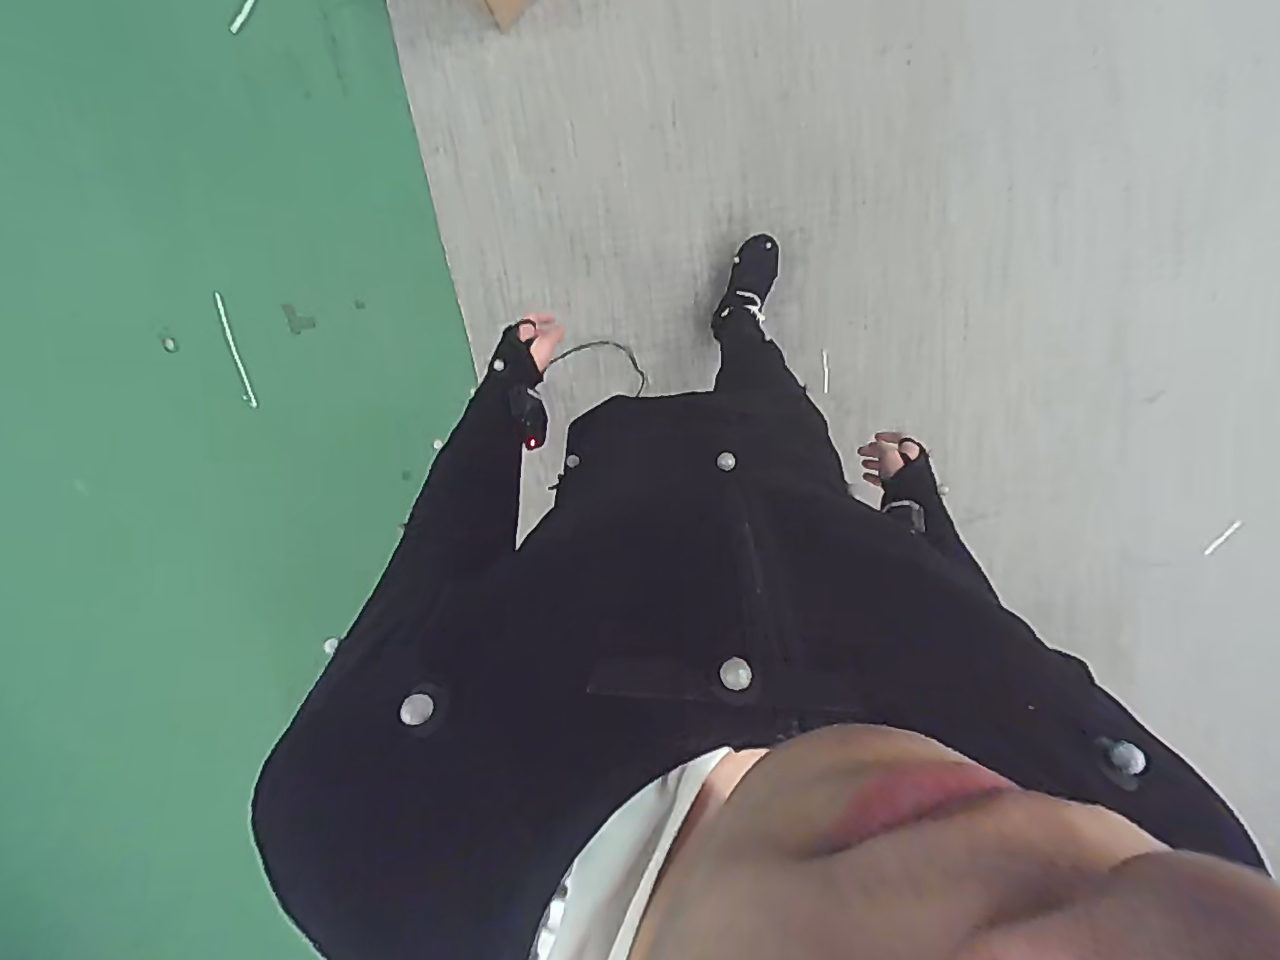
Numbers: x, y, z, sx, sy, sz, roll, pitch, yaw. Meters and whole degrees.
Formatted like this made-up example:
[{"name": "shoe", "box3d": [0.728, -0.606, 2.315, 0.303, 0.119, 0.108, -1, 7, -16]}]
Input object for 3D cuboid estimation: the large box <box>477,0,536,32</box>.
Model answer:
[{"name": "large box", "box3d": [-0.283, -1.277, 1.107, 0.408, 0.320, 0.320, -41, 101, 12]}]
